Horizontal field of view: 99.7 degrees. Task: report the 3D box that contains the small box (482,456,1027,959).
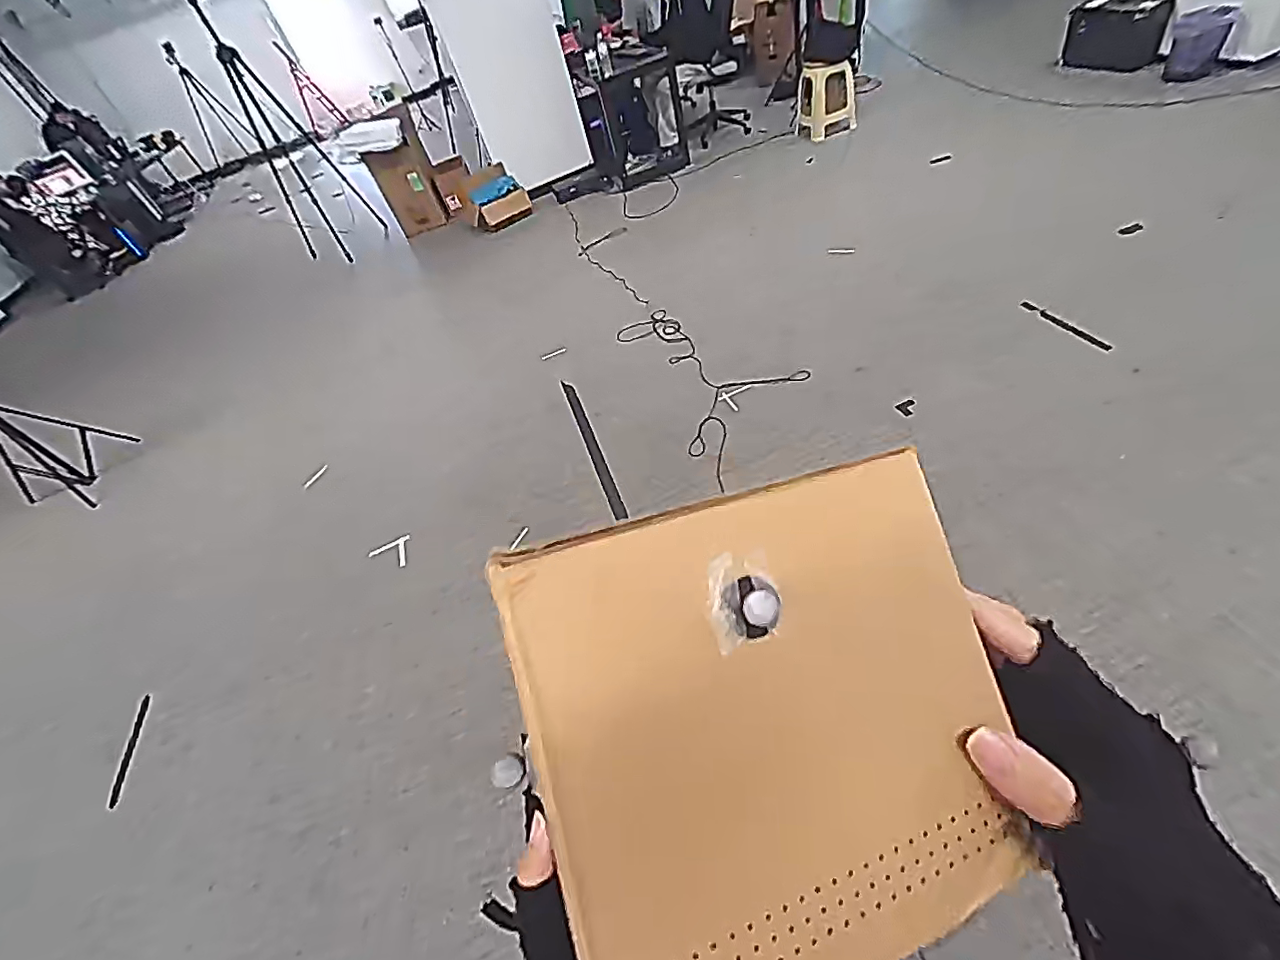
[{"bbox_3d":[0.036,0.106,0.263,0.179,0.168,0.176,-16,84,-17],"label":"small box"}]
